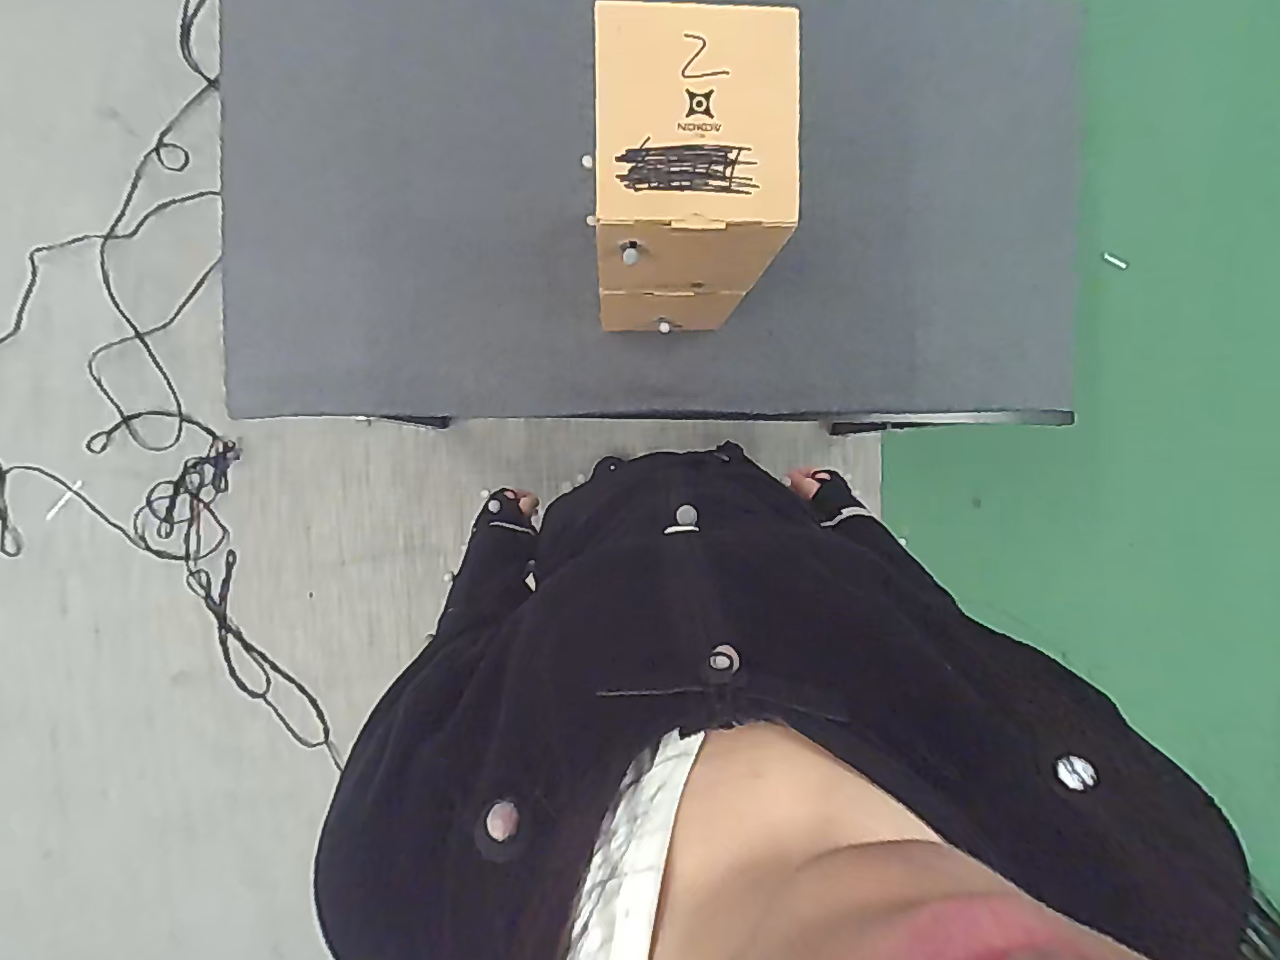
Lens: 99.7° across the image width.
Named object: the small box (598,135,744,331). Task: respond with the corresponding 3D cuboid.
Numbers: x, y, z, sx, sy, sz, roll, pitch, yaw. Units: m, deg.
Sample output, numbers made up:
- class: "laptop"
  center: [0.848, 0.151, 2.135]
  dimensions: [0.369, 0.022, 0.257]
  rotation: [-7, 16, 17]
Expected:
- class: "small box"
  center: [0.030, -0.297, 0.681]
  dimensions: [0.168, 0.176, 0.179]
  rotation: [-1, 92, -3]
